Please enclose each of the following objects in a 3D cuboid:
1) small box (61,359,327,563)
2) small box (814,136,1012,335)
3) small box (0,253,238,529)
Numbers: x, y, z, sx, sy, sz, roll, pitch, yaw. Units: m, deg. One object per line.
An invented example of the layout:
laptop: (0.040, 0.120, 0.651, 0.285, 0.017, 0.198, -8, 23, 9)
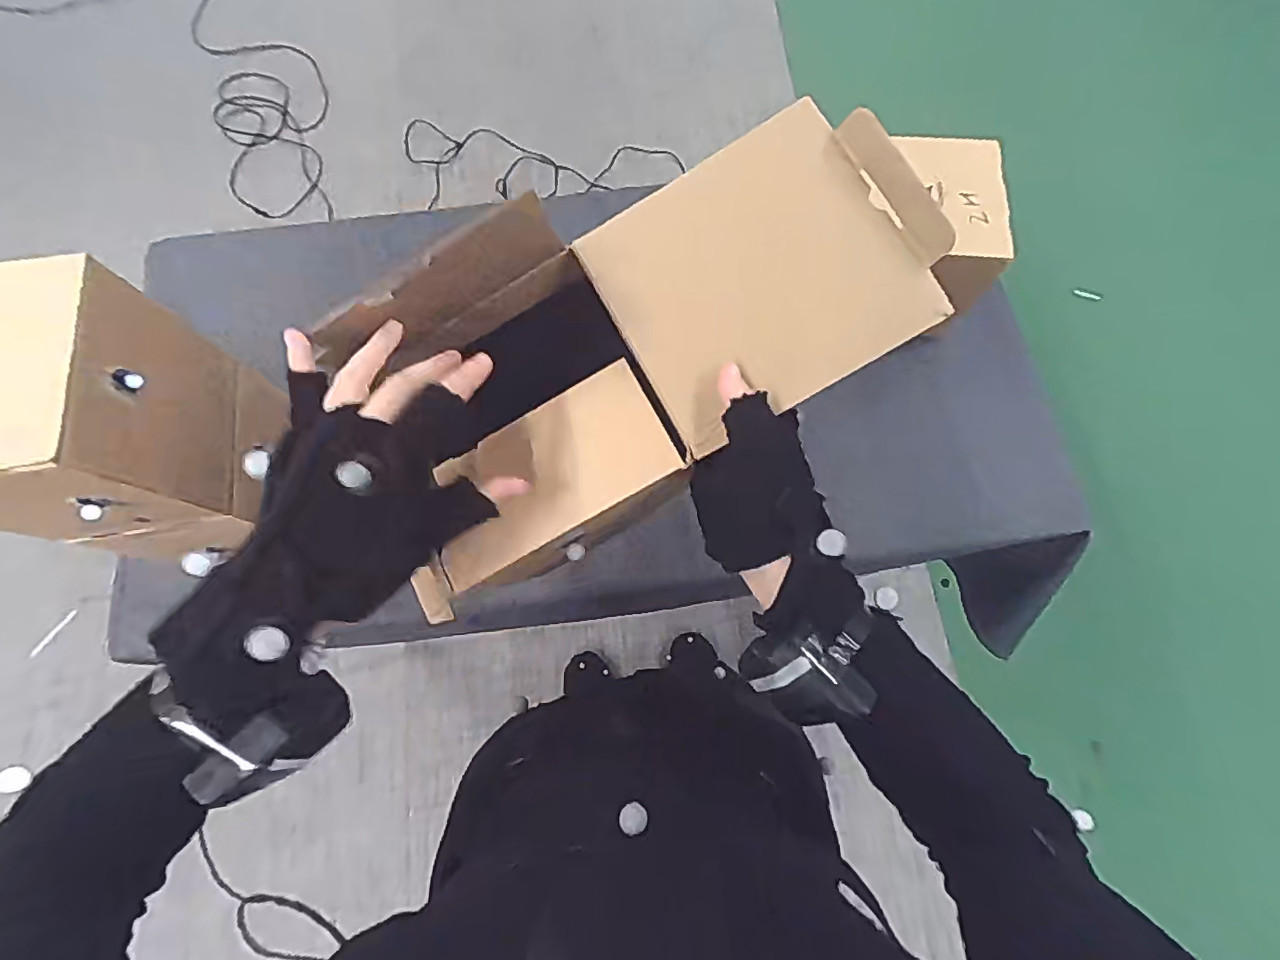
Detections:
small box: (-0.486, -0.013, 0.621, 0.168, 0.176, 0.179, -9, 74, -3)
small box: (0.332, -0.304, 0.697, 0.179, 0.176, 0.168, 4, 75, 2)
small box: (-0.487, -0.060, 0.465, 0.168, 0.176, 0.179, -7, 74, -3)
